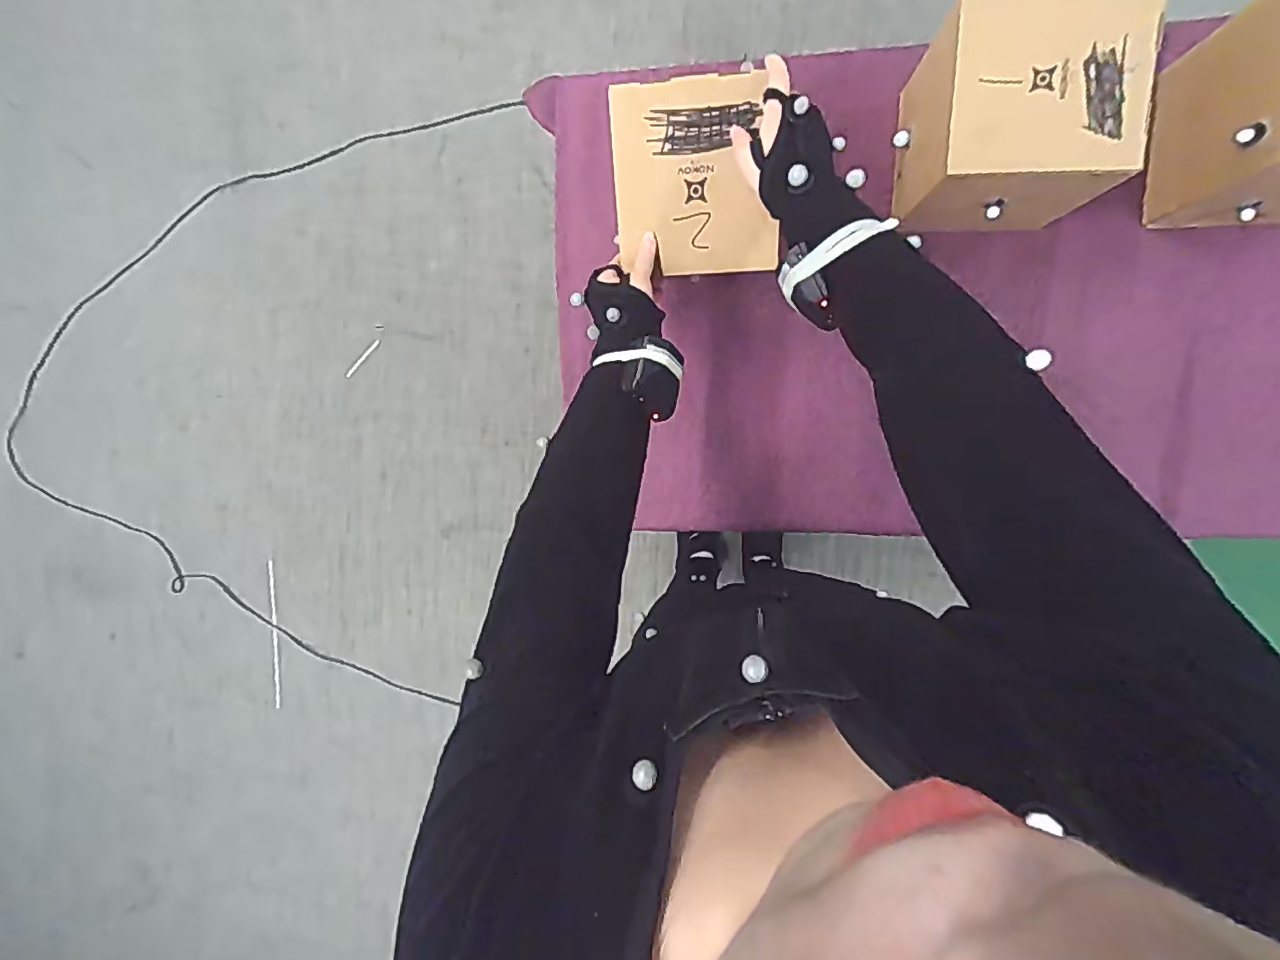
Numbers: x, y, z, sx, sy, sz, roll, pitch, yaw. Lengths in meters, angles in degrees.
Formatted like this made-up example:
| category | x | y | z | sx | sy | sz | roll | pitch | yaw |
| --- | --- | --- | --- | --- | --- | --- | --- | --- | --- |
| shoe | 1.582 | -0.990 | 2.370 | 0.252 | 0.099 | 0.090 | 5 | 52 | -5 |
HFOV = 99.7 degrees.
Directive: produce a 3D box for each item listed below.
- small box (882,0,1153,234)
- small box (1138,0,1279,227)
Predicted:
| category | x | y | z | sx | sy | sz | roll | pitch | yaw |
| --- | --- | --- | --- | --- | --- | --- | --- | --- | --- |
| small box | 0.385 | -0.380 | 0.585 | 0.179 | 0.176 | 0.168 | 2 | 96 | 7 |
| small box | 0.665 | -0.379 | 0.552 | 0.168 | 0.176 | 0.179 | 1 | 98 | 7 |
